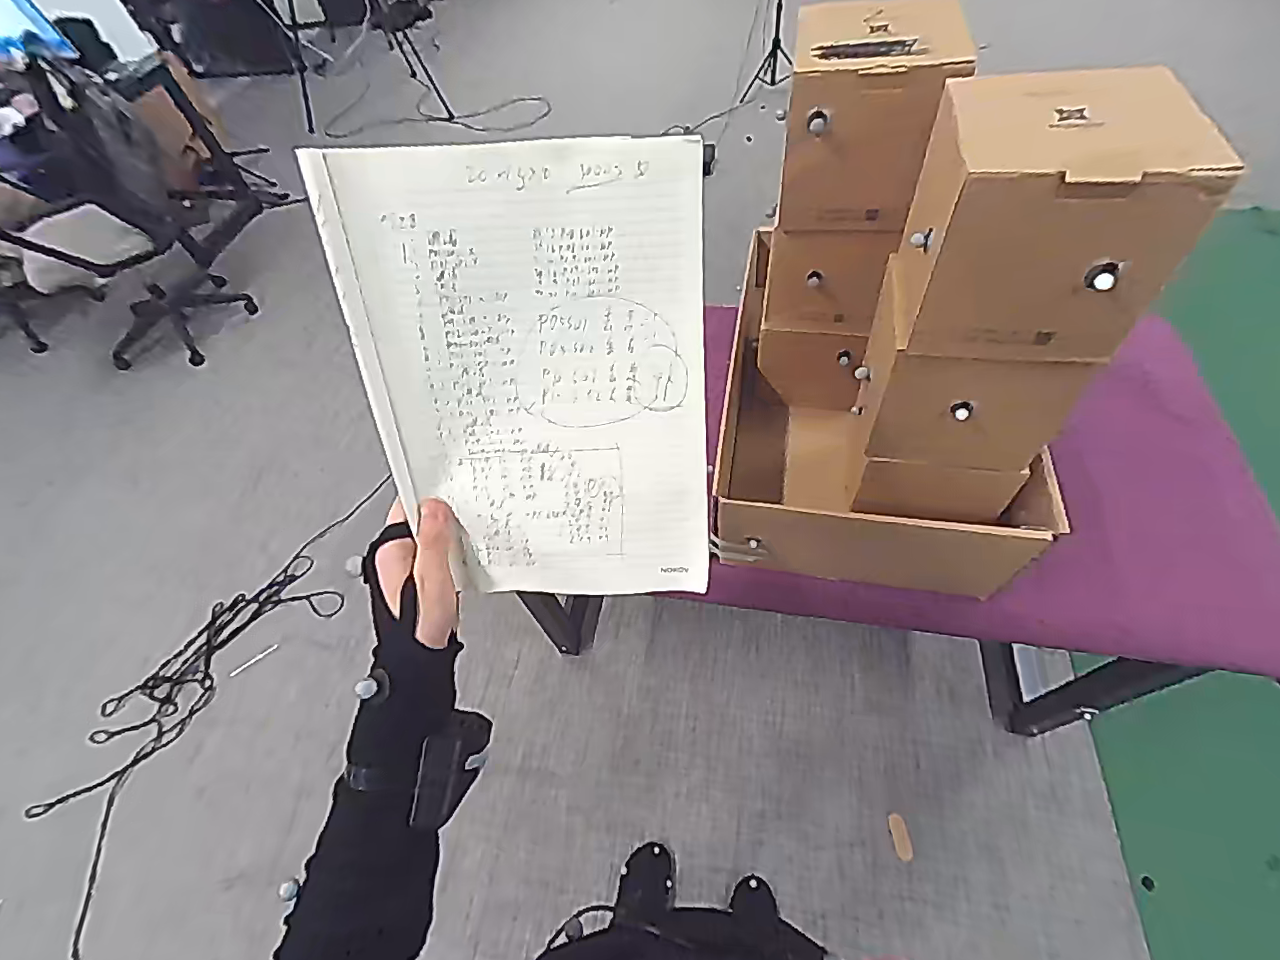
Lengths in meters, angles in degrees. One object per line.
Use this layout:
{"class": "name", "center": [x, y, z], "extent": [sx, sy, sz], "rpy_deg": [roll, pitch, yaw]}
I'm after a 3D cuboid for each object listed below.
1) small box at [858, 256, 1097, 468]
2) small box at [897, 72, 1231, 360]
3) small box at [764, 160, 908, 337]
{"class": "small box", "center": [0.355, -0.130, 0.610], "extent": [0.179, 0.176, 0.168], "rpy_deg": [6, 54, 15]}
{"class": "small box", "center": [0.336, -0.226, 0.479], "extent": [0.168, 0.176, 0.179], "rpy_deg": [7, 54, 14]}
{"class": "small box", "center": [0.271, -0.323, 0.768], "extent": [0.168, 0.176, 0.179], "rpy_deg": [7, 57, 13]}
